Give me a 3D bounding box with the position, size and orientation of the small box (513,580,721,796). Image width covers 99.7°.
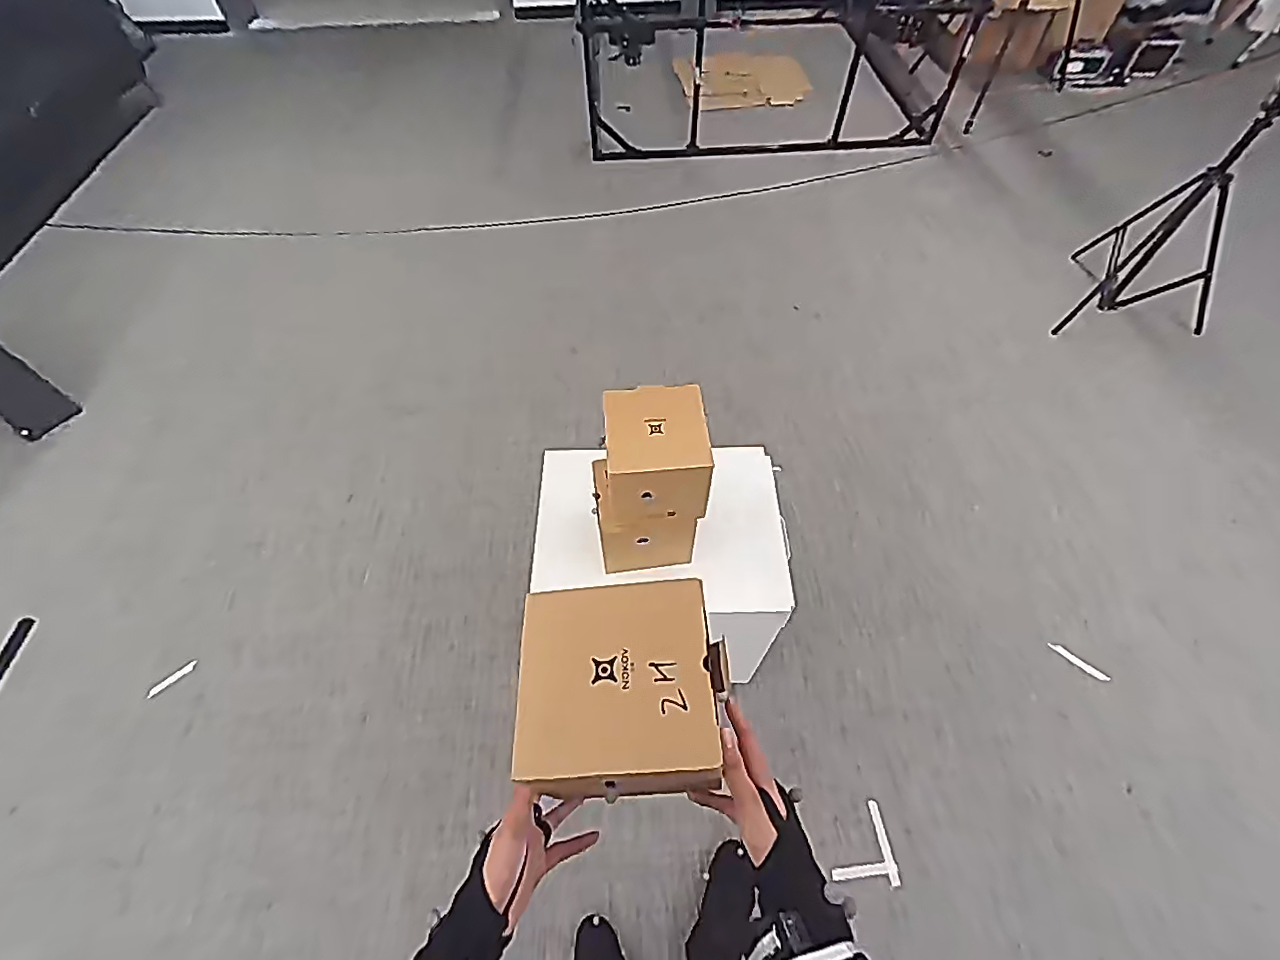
[{"bbox_3d":[-0.013,0.217,0.550,0.179,0.176,0.168,-5,55,4],"label":"small box"}]

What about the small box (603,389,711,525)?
[{"bbox_3d":[0.026,-0.033,0.941,0.168,0.176,0.179,-4,55,-2],"label":"small box"}]

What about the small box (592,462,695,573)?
[{"bbox_3d":[0.005,0.072,1.067,0.179,0.176,0.168,-6,56,-5],"label":"small box"}]
